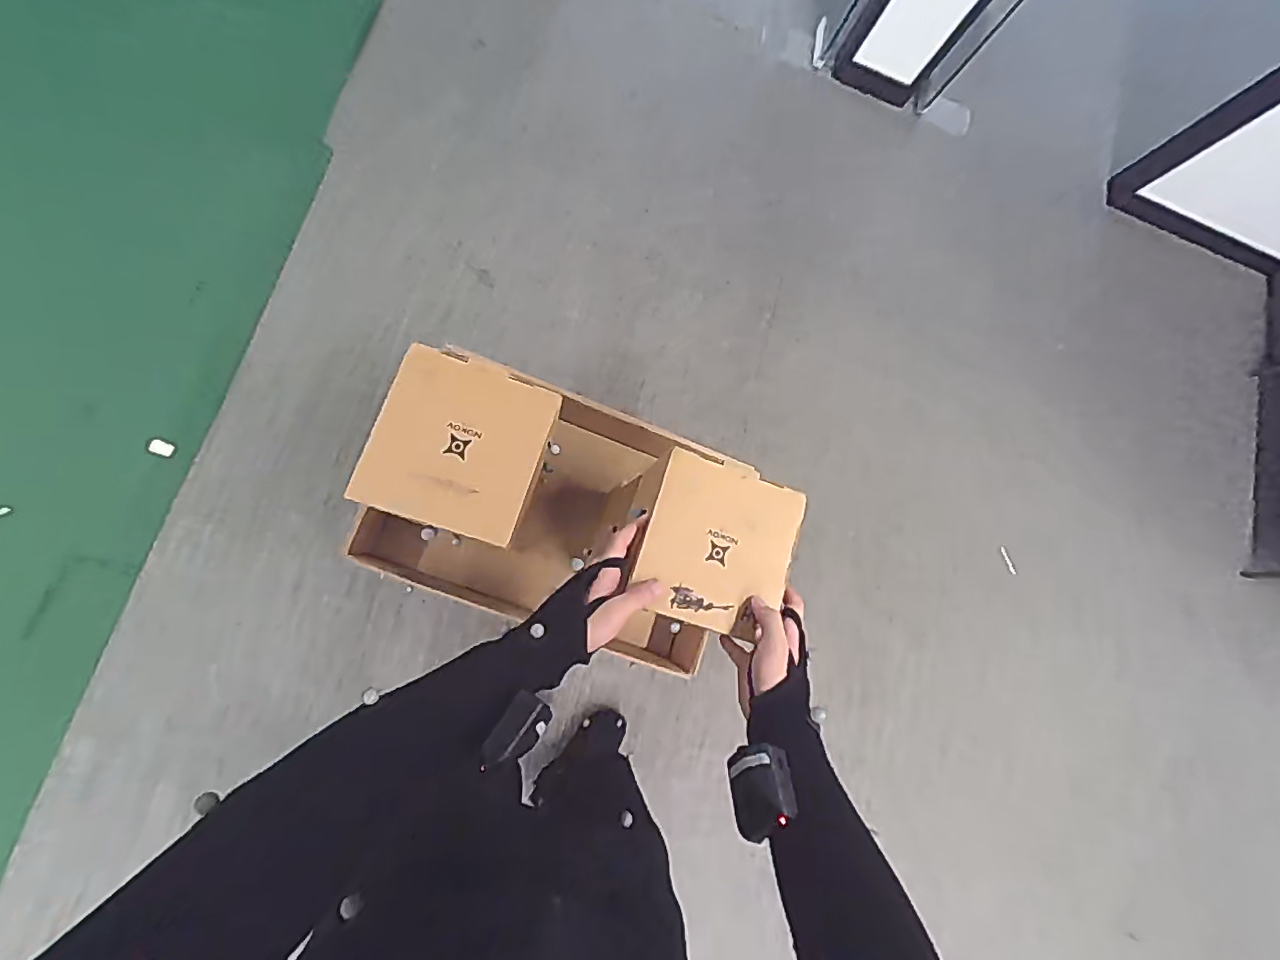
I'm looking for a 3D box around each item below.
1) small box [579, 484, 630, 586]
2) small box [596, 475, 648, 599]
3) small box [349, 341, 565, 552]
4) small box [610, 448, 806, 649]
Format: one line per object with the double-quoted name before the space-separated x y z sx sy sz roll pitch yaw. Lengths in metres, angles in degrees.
"small box" -0.002 0.127 0.988 0.168 0.176 0.179 24 78 -8
"small box" 0.037 0.111 0.829 0.168 0.176 0.179 19 78 -9
"small box" -0.198 -0.025 0.629 0.168 0.176 0.179 20 77 -7
"small box" 0.071 0.084 0.653 0.168 0.176 0.179 20 77 -7
